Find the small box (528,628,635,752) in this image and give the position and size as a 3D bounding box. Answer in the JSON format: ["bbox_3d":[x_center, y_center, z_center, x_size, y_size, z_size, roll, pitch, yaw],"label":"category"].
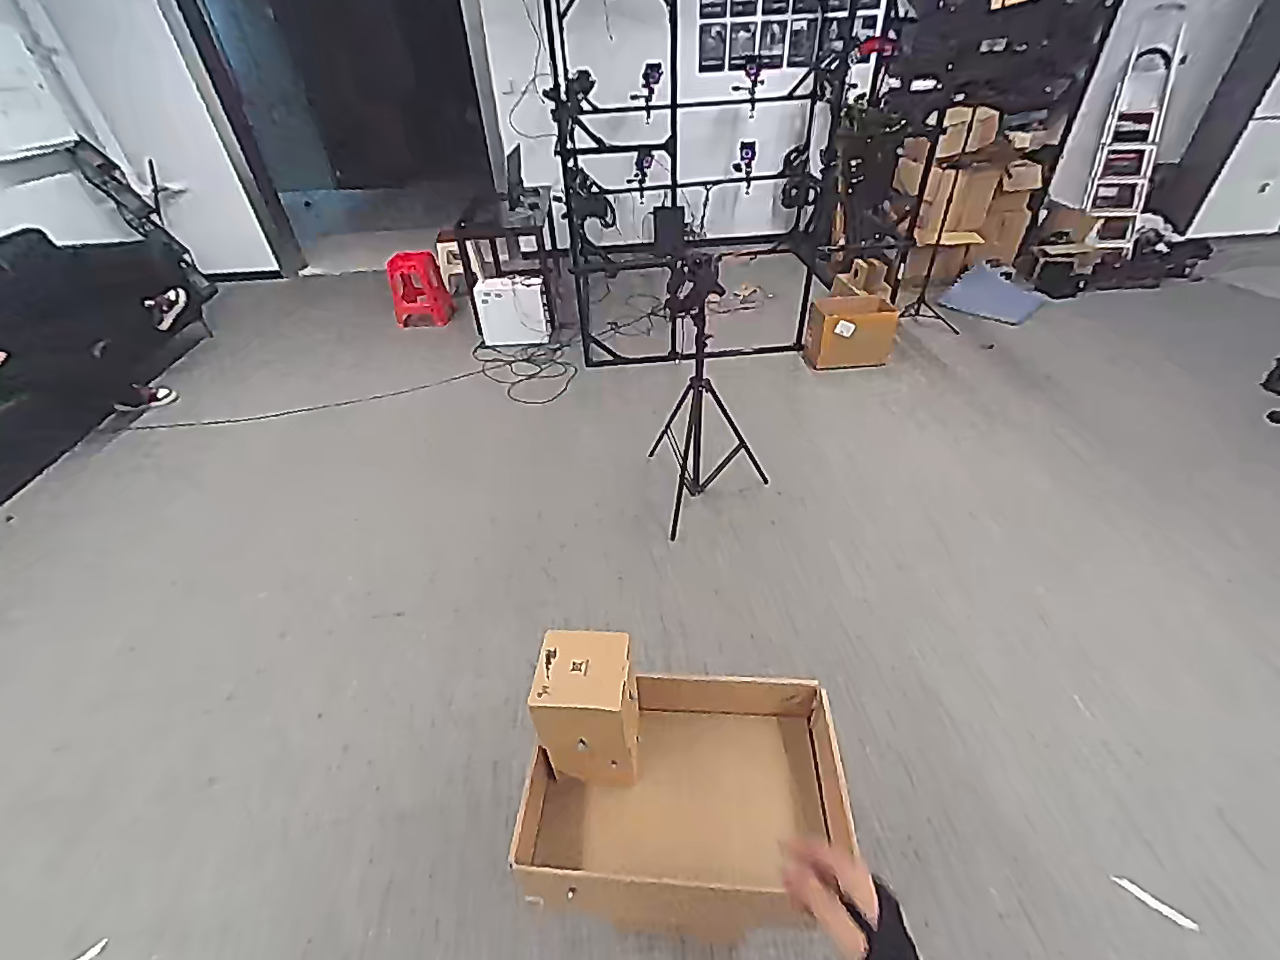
[{"bbox_3d":[-0.105,0.416,1.069,0.179,0.176,0.168,2,38,6],"label":"small box"}]
